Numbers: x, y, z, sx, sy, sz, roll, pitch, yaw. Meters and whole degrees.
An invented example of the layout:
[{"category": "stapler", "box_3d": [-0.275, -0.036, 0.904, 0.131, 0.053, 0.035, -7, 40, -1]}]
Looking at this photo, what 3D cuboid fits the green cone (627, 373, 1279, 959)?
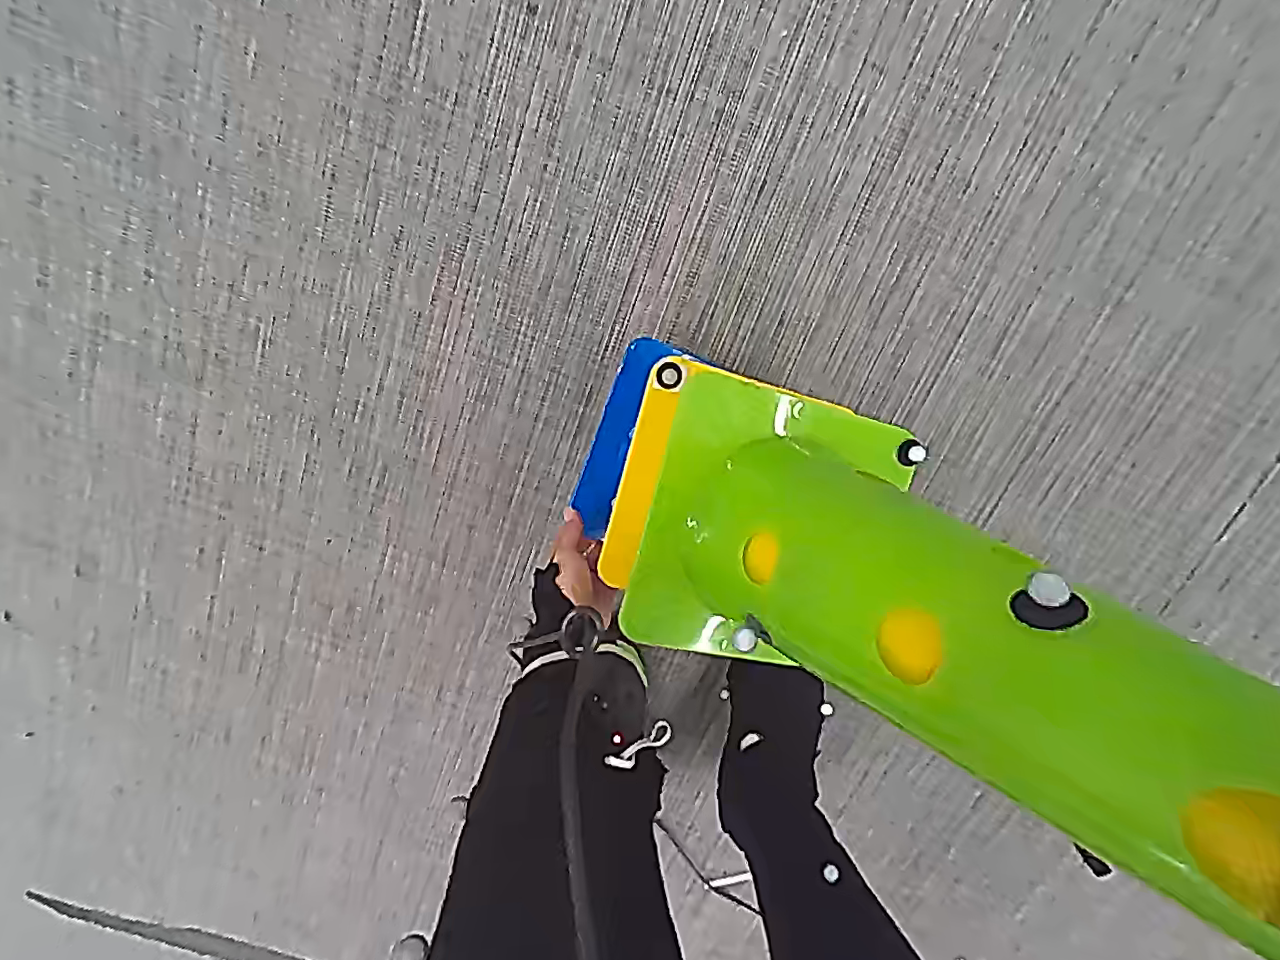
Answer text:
[{"category": "green cone", "box_3d": [0.143, 0.073, 0.229, 0.200, 0.368, 0.202, 12, 98, -16]}]
